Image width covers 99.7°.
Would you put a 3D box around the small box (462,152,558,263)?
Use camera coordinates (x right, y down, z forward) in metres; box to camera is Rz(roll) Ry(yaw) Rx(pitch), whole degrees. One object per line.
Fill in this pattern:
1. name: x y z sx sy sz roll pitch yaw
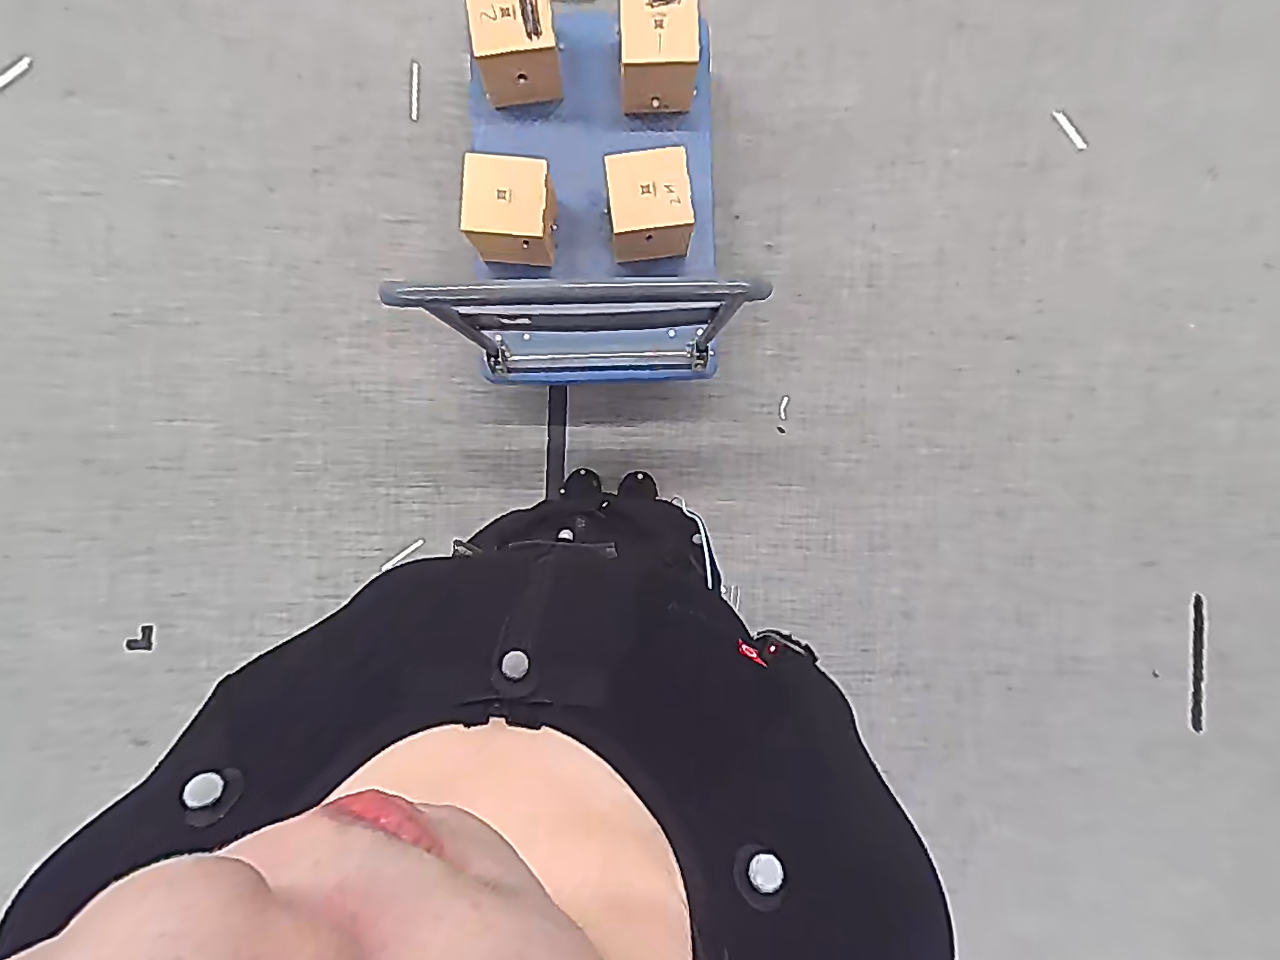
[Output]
1. small box: -0.287 -0.607 1.223 0.179 0.176 0.168 4 91 -2

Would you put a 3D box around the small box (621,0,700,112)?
1. small box: 0.041 -0.972 1.219 0.168 0.176 0.179 -2 93 -1

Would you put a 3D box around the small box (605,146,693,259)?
1. small box: 0.020 -0.619 1.227 0.179 0.176 0.168 -7 92 -1
